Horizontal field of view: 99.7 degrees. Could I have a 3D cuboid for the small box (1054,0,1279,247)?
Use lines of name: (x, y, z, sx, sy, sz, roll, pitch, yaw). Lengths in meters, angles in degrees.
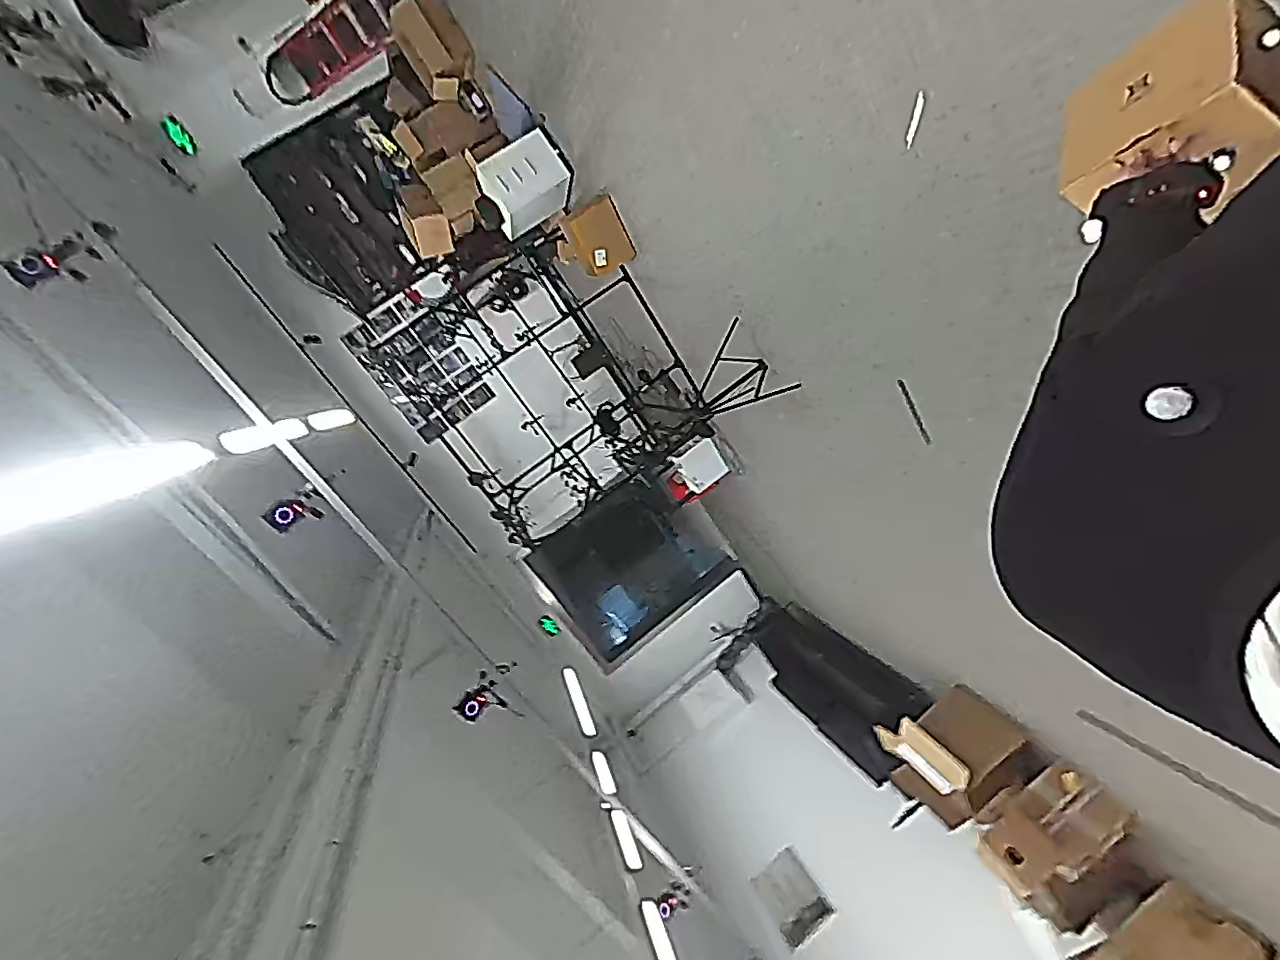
small box: (0.645, -0.414, 0.650, 0.176, 0.179, 0.168, 24, 162, -16)
